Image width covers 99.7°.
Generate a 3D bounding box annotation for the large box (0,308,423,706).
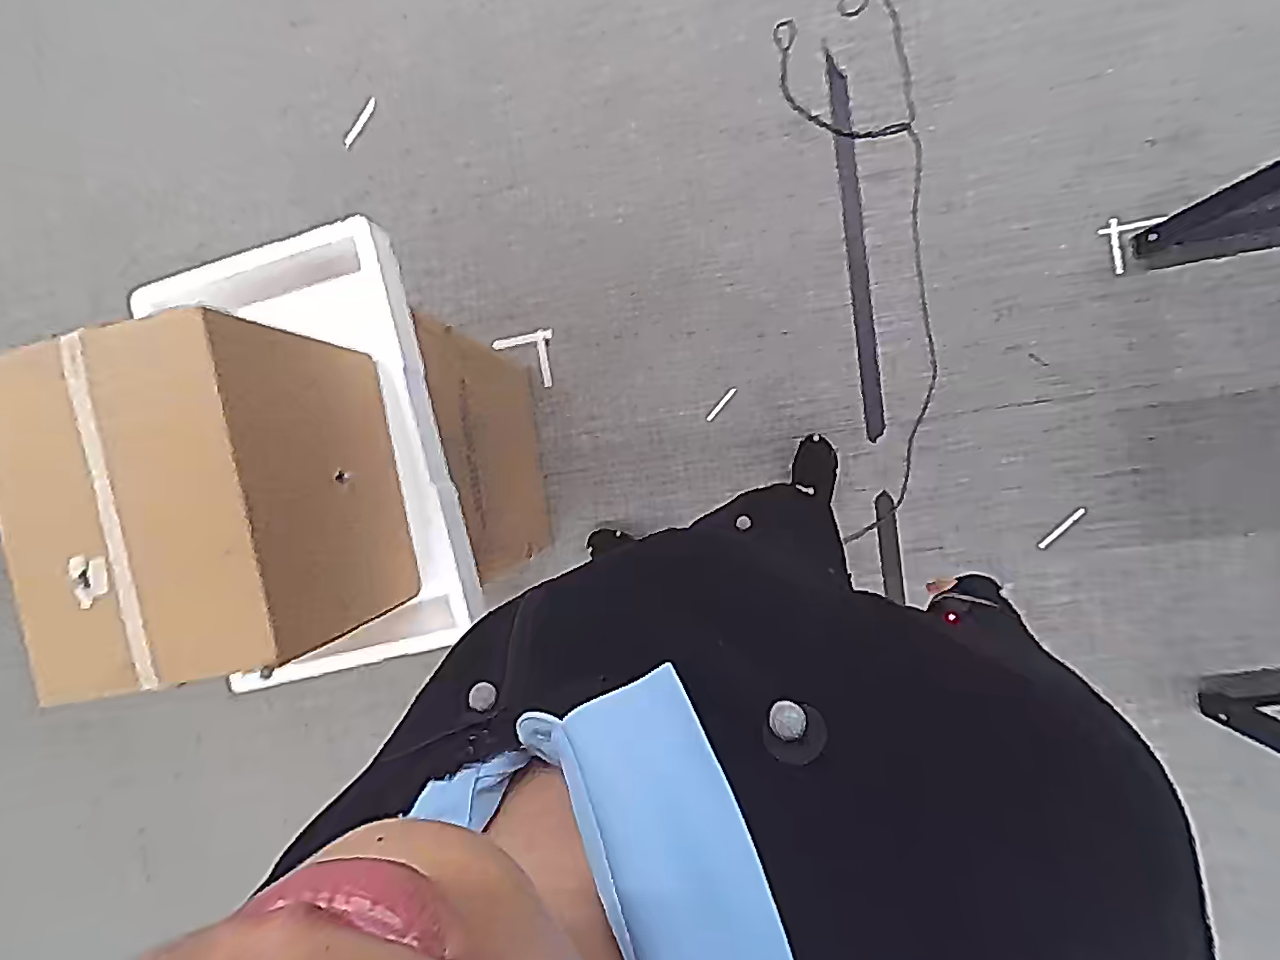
[{"bbox_3d":[-0.555,0.028,0.747,0.320,0.320,0.408,-12,92,8],"label":"large box"}]
